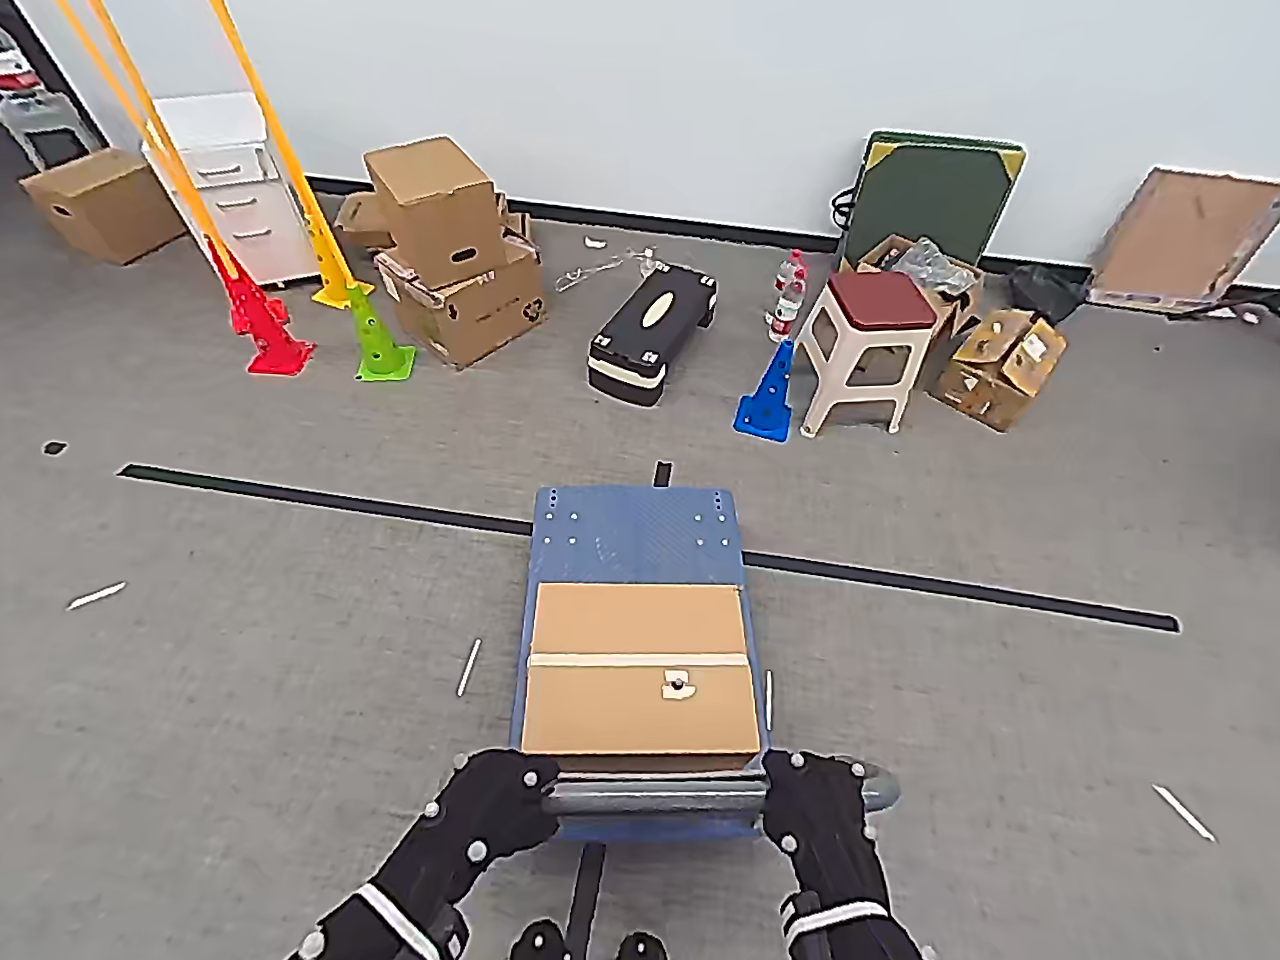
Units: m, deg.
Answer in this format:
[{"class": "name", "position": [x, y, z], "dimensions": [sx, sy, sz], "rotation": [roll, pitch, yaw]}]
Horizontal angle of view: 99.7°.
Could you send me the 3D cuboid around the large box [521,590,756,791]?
[{"class": "large box", "position": [-0.014, 0.434, 1.105], "dimensions": [0.408, 0.320, 0.320], "rotation": [2, 53, -3]}]
